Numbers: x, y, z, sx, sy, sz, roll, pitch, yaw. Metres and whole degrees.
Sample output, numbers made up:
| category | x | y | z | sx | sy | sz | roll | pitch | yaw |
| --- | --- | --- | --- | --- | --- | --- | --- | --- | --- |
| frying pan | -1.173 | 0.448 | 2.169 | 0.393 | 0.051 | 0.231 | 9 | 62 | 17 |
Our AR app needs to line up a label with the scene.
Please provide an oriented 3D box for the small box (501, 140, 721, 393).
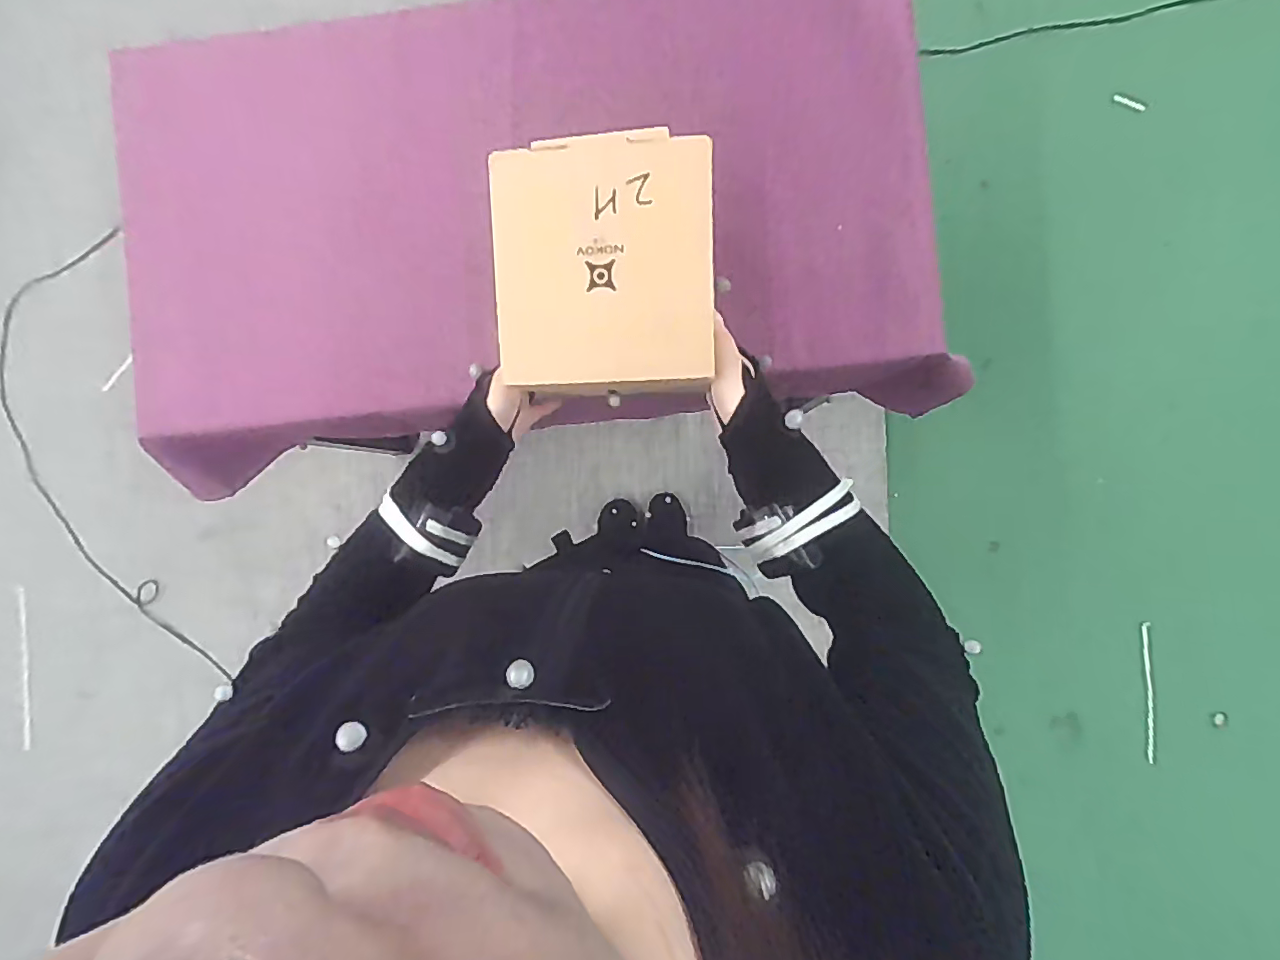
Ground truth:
| category | x | y | z | sx | sy | sz | roll | pitch | yaw |
| --- | --- | --- | --- | --- | --- | --- | --- | --- | --- |
| small box | -0.015 | -0.168 | 0.484 | 0.168 | 0.176 | 0.179 | -1 | 96 | 5 |
